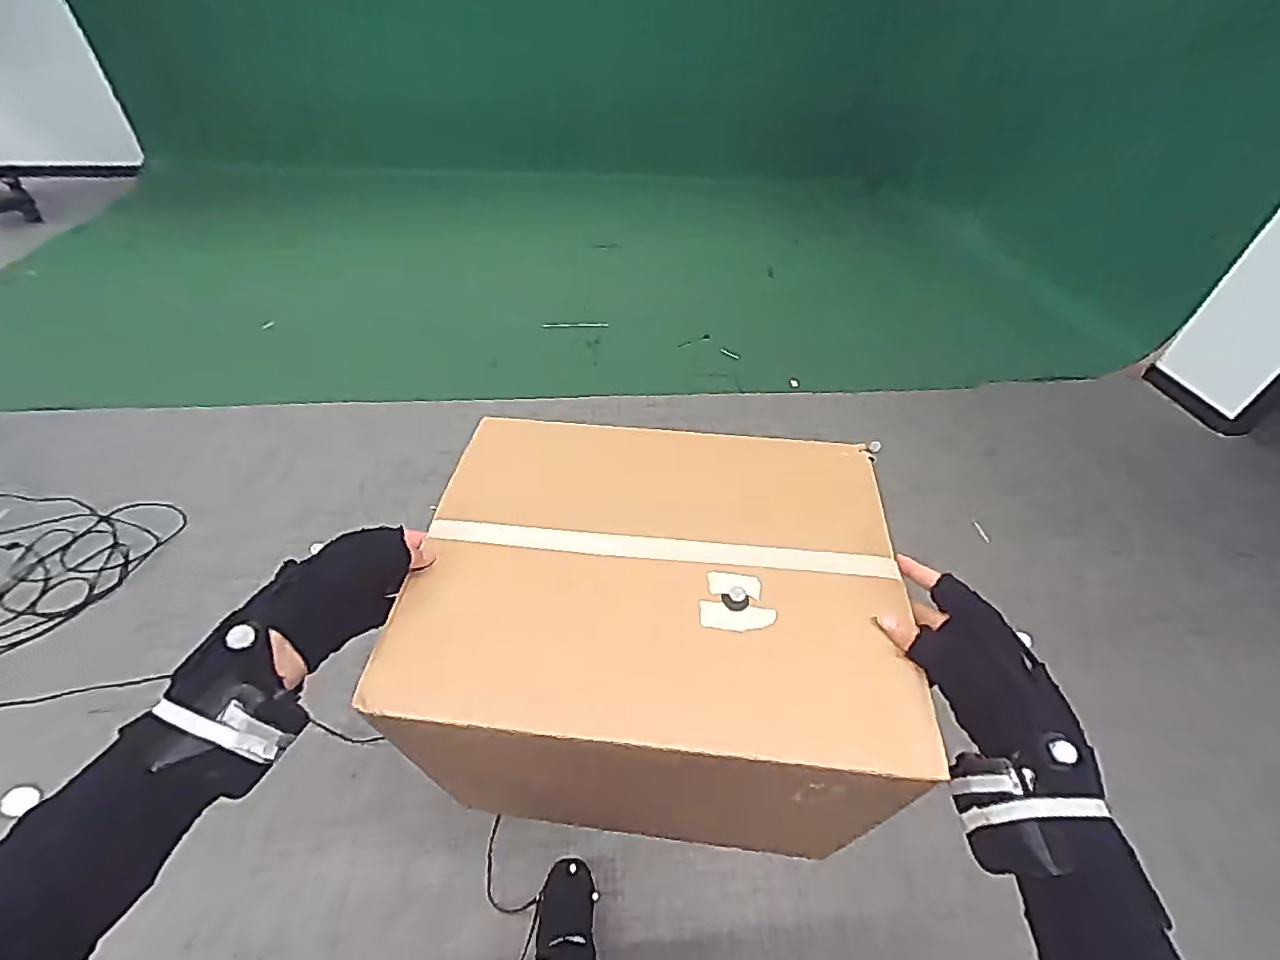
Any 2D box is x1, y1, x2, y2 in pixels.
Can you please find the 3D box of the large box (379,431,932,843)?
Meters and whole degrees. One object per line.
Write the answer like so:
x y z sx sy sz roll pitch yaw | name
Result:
0.018 0.169 0.589 0.408 0.320 0.320 4 48 5 | large box
